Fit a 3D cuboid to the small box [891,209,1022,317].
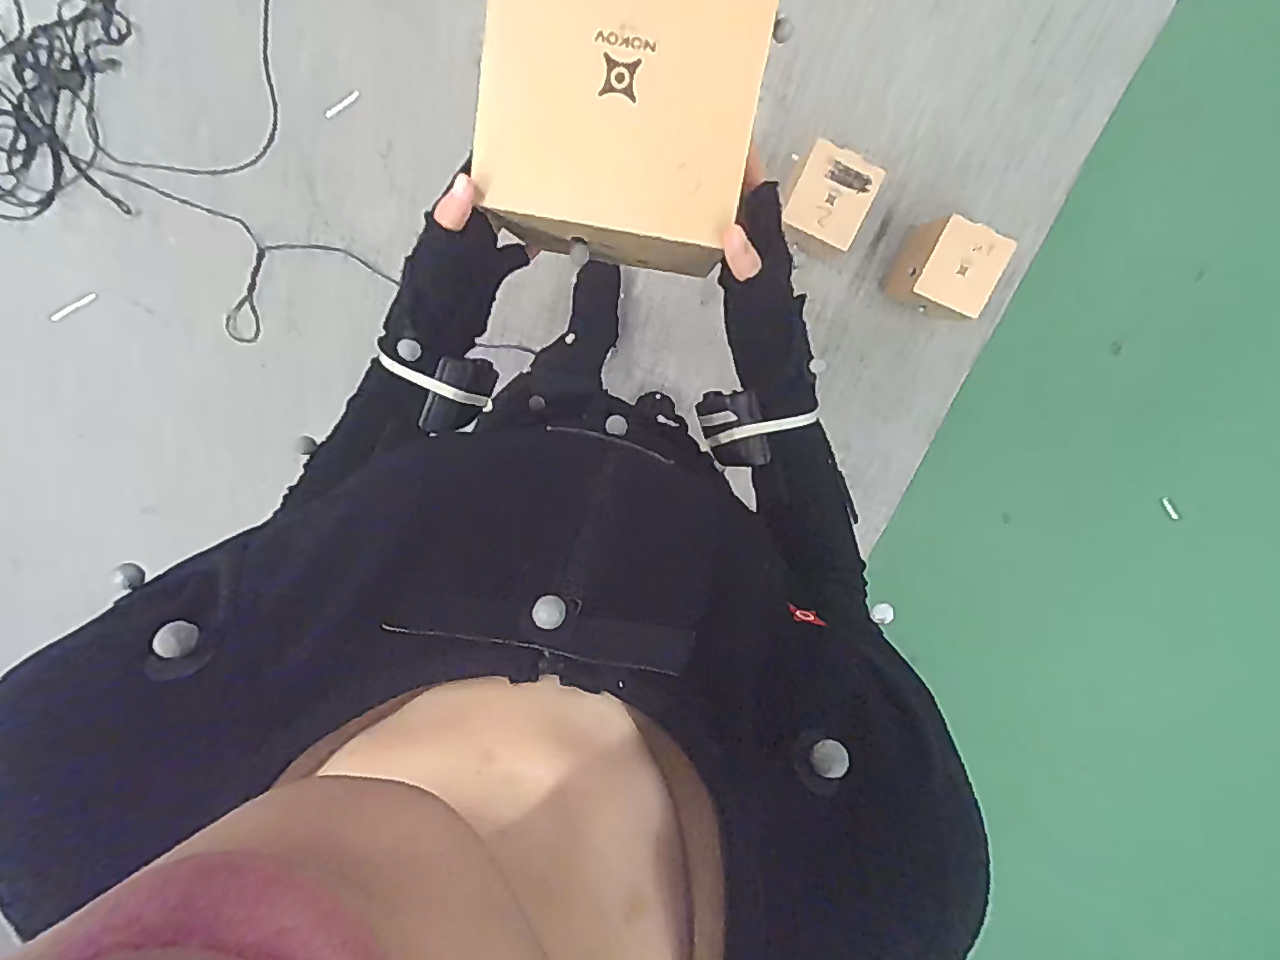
[{"bbox_3d":[0.713,-0.489,1.246,0.168,0.176,0.179,22,105,-6],"label":"small box"}]
